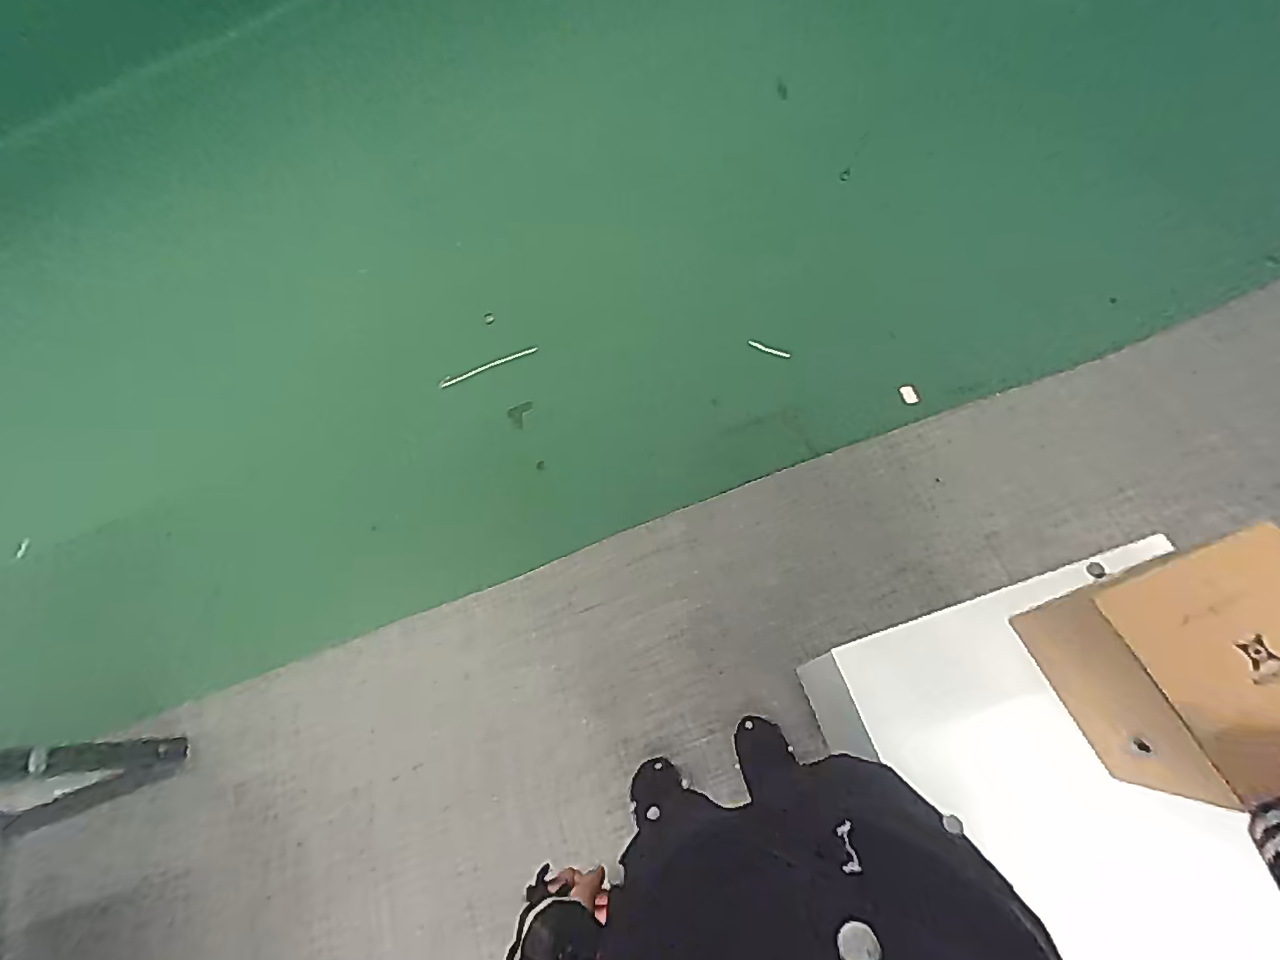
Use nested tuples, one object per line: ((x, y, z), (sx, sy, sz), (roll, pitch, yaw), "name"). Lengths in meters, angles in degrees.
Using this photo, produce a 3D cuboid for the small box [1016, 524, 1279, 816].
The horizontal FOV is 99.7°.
((0.504, 0.168, 0.496), (0.168, 0.176, 0.179), (-24, 66, 1), "small box")
